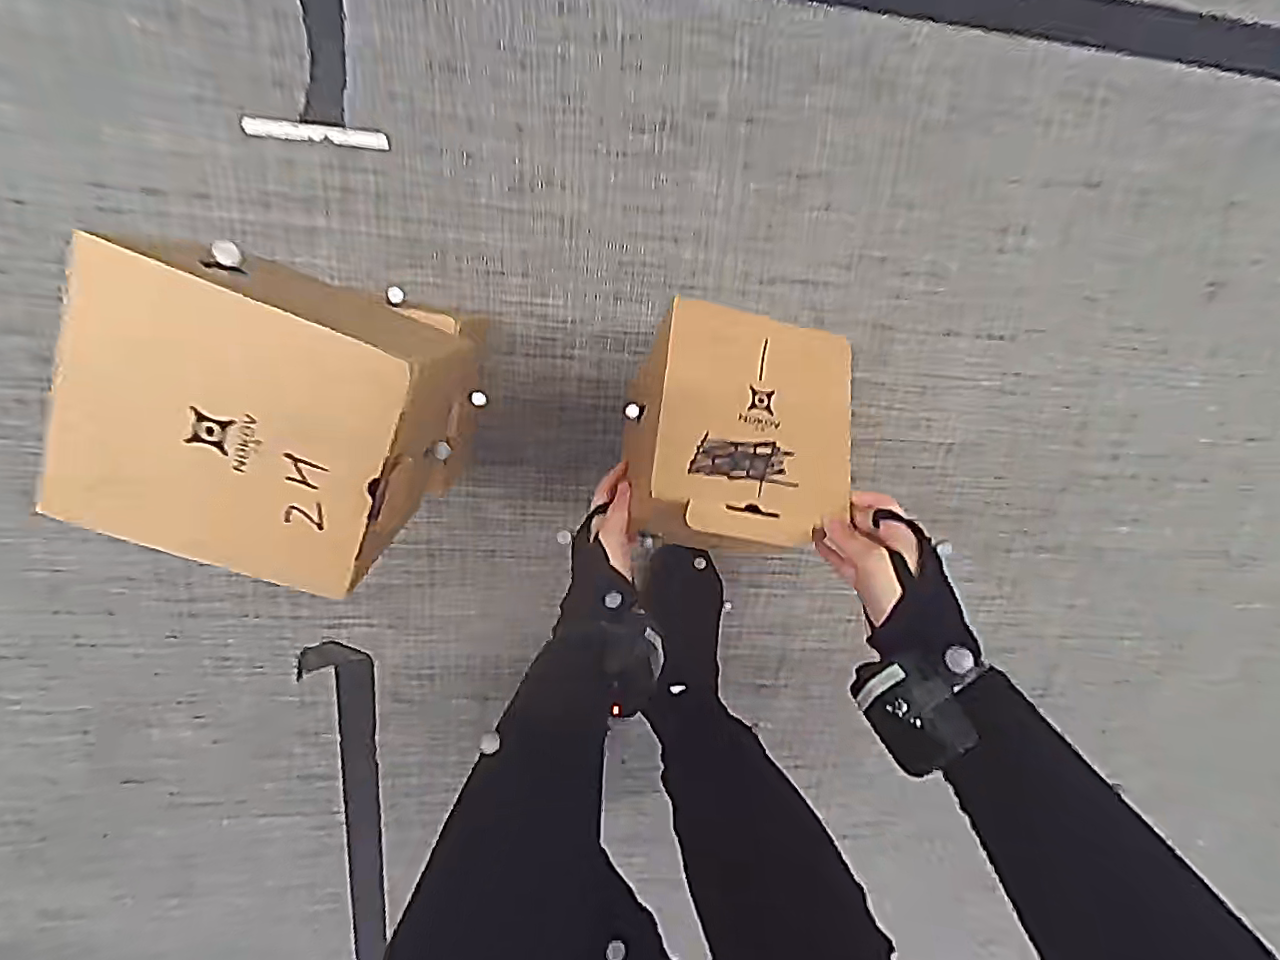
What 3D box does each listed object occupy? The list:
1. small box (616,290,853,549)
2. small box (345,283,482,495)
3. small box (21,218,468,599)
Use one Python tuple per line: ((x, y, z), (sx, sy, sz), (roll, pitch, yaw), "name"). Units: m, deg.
((0.077, -0.039, 0.508), (0.168, 0.176, 0.179), (11, 72, -11), "small box")
((-0.260, -0.098, 0.532), (0.179, 0.176, 0.168), (9, 106, -10), "small box")
((-0.241, -0.051, 0.375), (0.179, 0.176, 0.168), (21, 105, -13), "small box")
